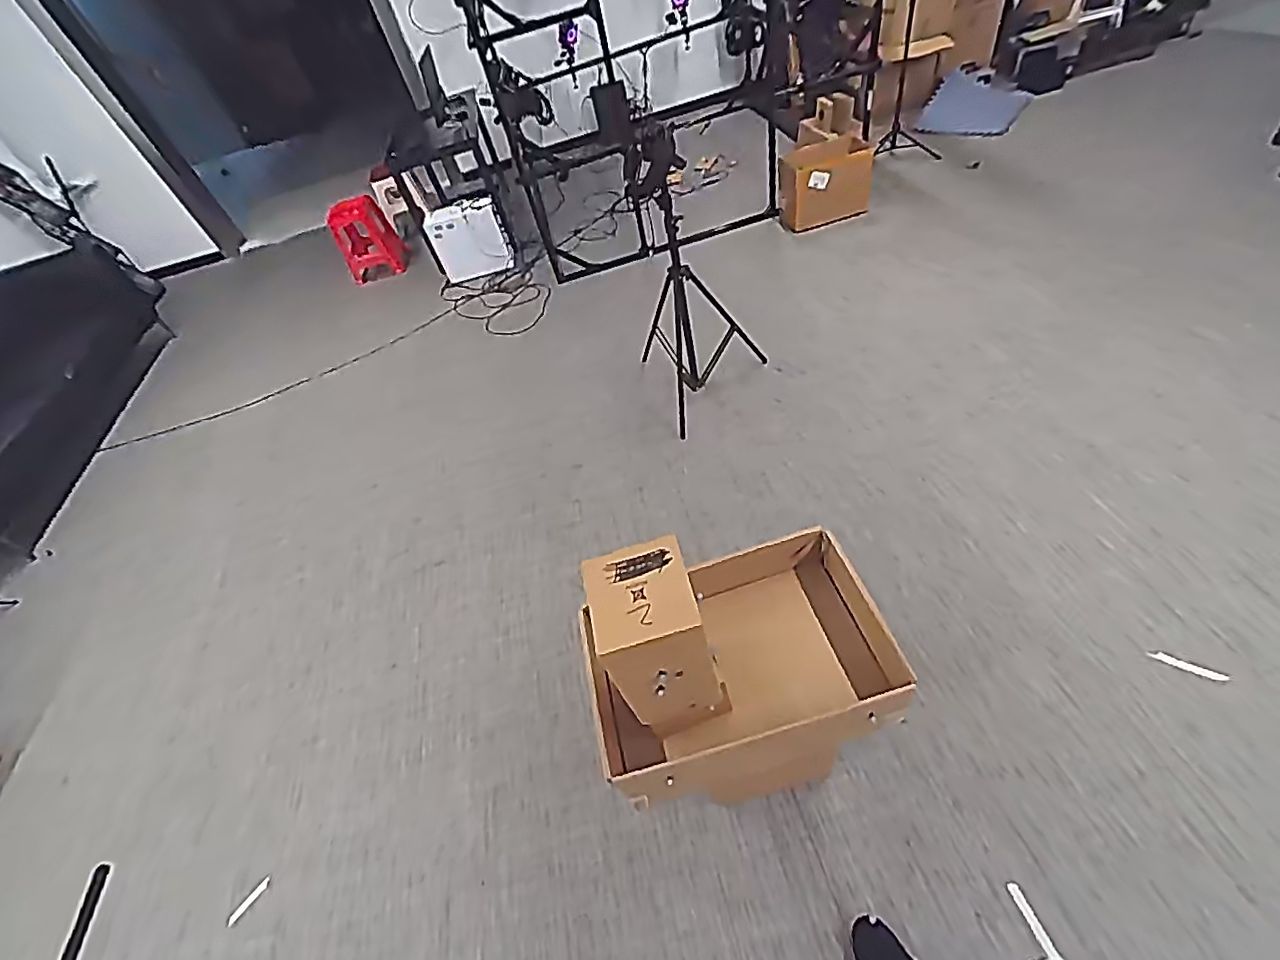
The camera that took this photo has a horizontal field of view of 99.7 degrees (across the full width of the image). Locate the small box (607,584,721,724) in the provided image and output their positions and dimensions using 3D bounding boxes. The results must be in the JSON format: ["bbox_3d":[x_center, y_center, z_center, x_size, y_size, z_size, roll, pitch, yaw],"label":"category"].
[{"bbox_3d":[0.046,0.333,1.030,0.168,0.176,0.179,-18,46,1],"label":"small box"}]

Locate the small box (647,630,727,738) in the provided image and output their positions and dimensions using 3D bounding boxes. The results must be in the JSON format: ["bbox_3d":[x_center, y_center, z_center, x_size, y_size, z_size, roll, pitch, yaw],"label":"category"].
[{"bbox_3d":[0.078,0.423,1.162,0.179,0.176,0.168,-22,47,-3],"label":"small box"}]
